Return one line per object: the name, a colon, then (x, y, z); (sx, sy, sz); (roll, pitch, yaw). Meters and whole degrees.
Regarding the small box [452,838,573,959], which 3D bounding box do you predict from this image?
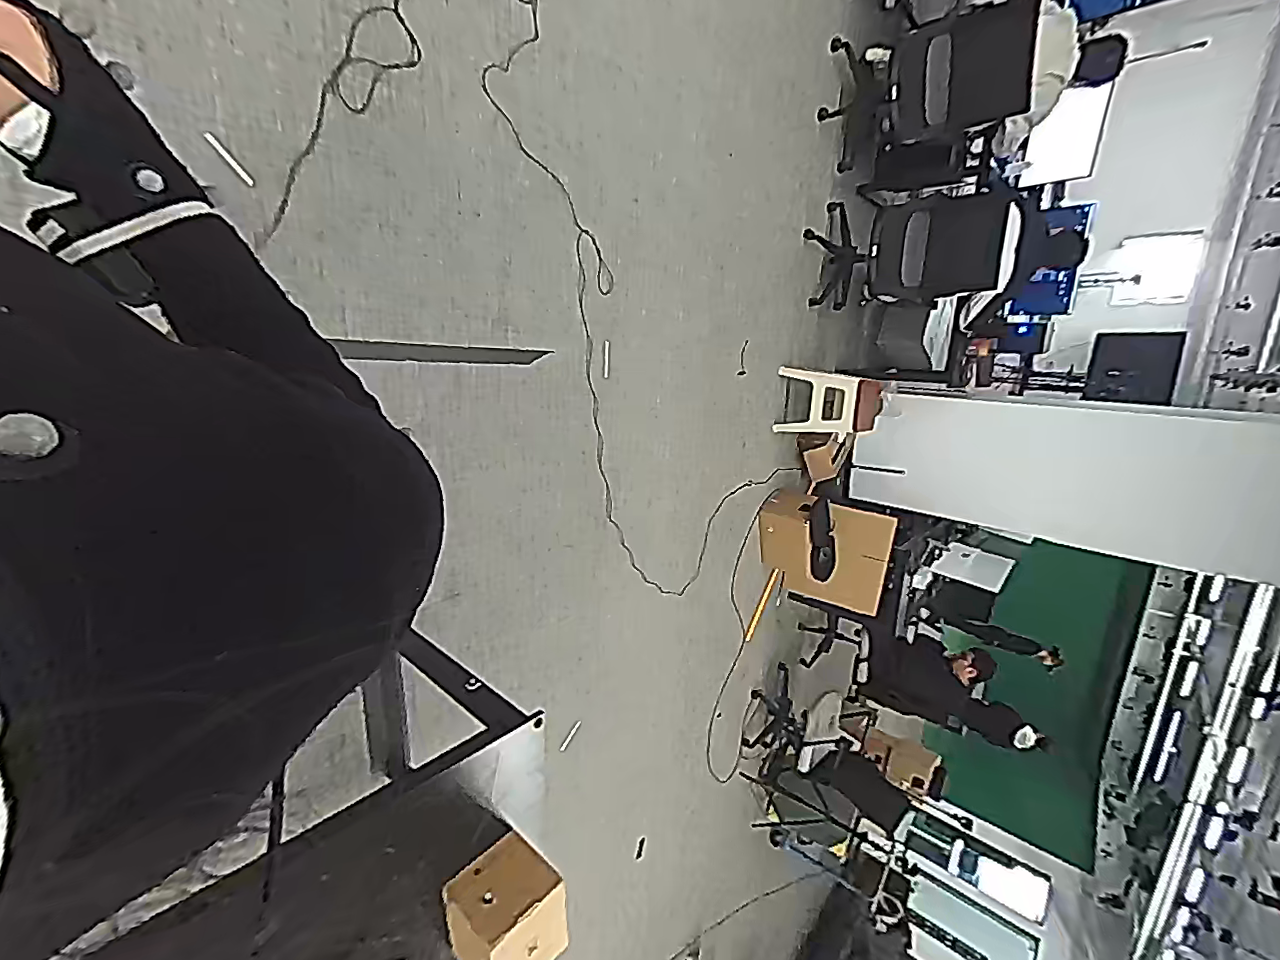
small box: (-0.250, 0.850, 1.059); (0.168, 0.176, 0.179); (-19, 115, -44)
